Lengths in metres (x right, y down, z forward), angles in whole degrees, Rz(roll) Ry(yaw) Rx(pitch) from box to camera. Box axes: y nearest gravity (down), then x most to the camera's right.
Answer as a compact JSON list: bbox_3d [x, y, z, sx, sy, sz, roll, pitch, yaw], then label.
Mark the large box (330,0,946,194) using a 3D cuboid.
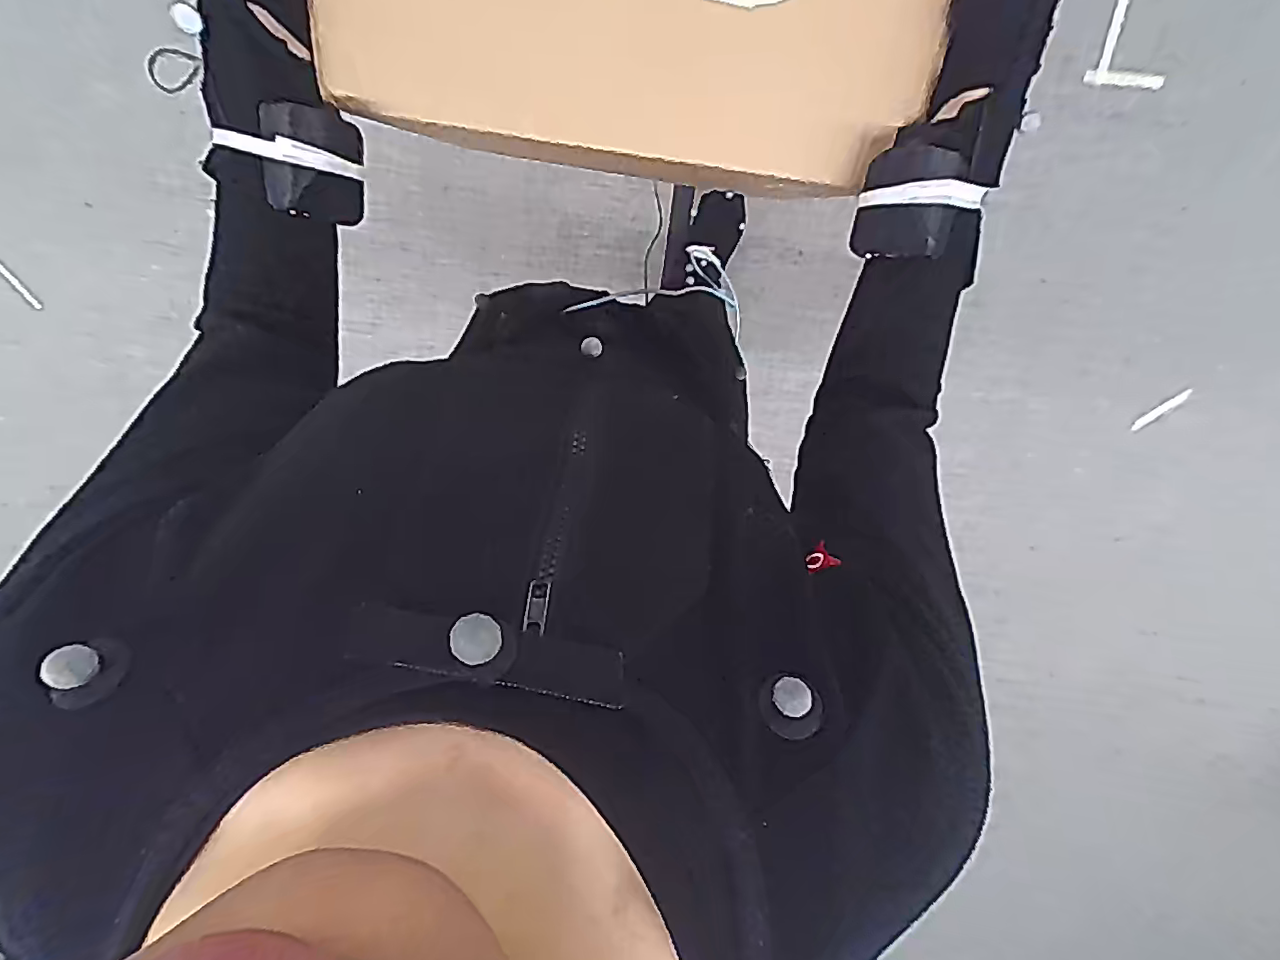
[{"bbox_3d":[0.004,-0.437,0.451,0.408,0.320,0.320,6,118,-5],"label":"large box"}]
